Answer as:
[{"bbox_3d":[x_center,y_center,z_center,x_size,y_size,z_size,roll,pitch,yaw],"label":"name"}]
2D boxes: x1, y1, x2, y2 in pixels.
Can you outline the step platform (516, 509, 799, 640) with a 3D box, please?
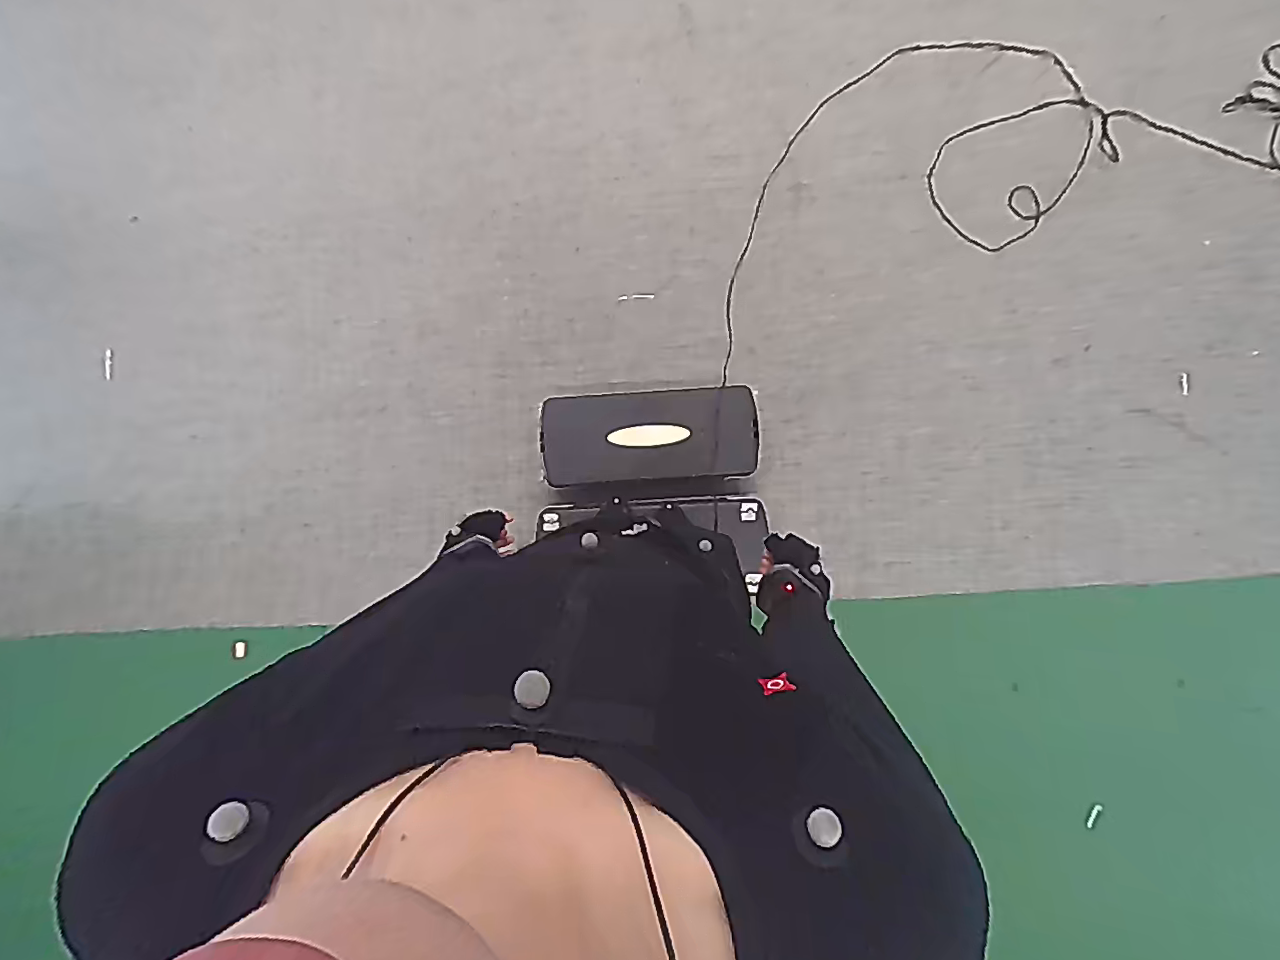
[{"bbox_3d":[0.040,0.233,1.392,0.684,0.204,0.286,-3,87,0],"label":"step platform"}]
